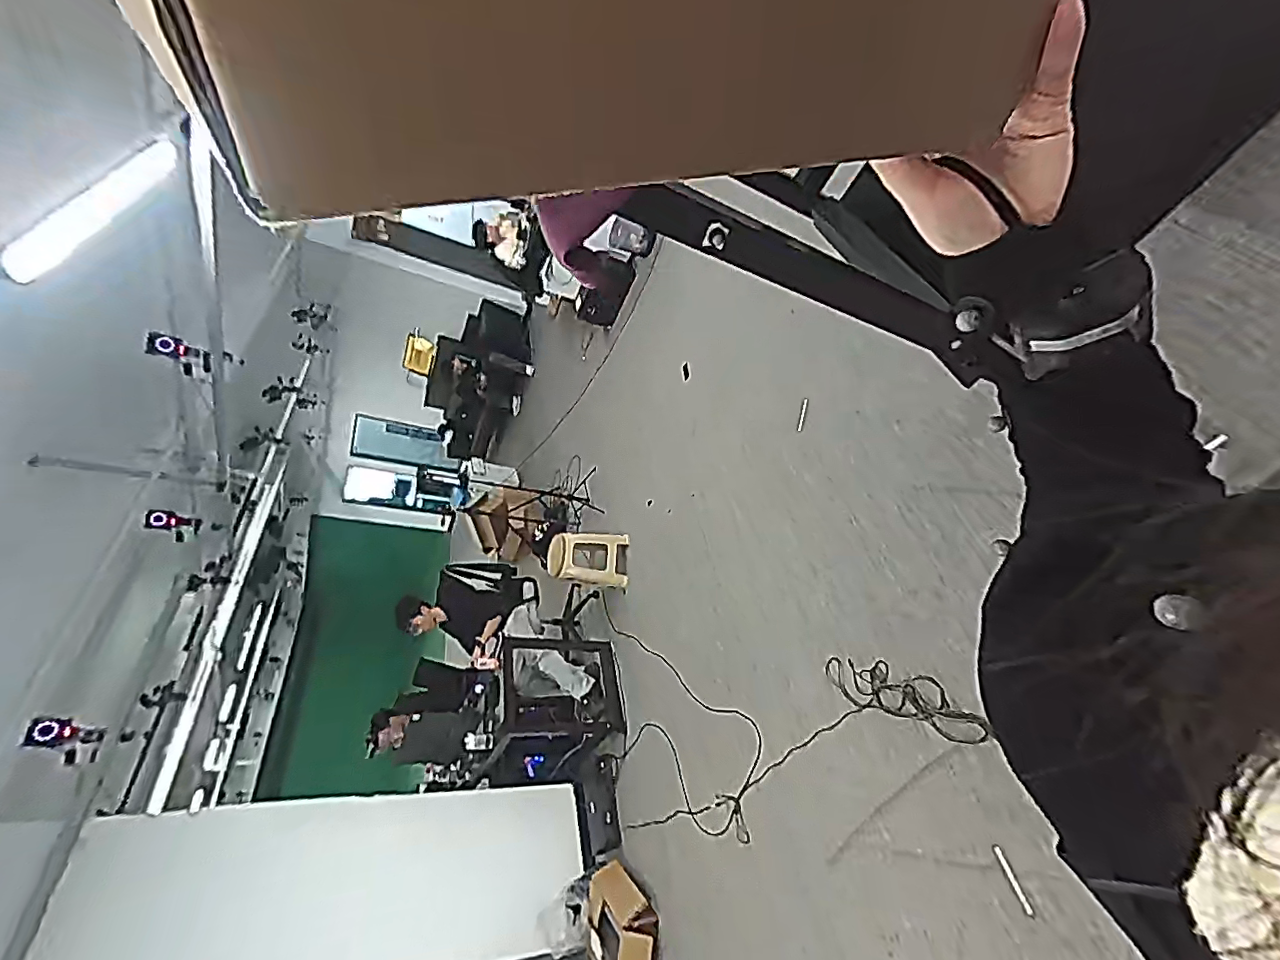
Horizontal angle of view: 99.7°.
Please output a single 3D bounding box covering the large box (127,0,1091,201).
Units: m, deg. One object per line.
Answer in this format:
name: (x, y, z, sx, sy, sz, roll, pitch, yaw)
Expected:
large box: (-0.048, -0.327, 0.169, 0.408, 0.320, 0.320, 47, 144, 31)
